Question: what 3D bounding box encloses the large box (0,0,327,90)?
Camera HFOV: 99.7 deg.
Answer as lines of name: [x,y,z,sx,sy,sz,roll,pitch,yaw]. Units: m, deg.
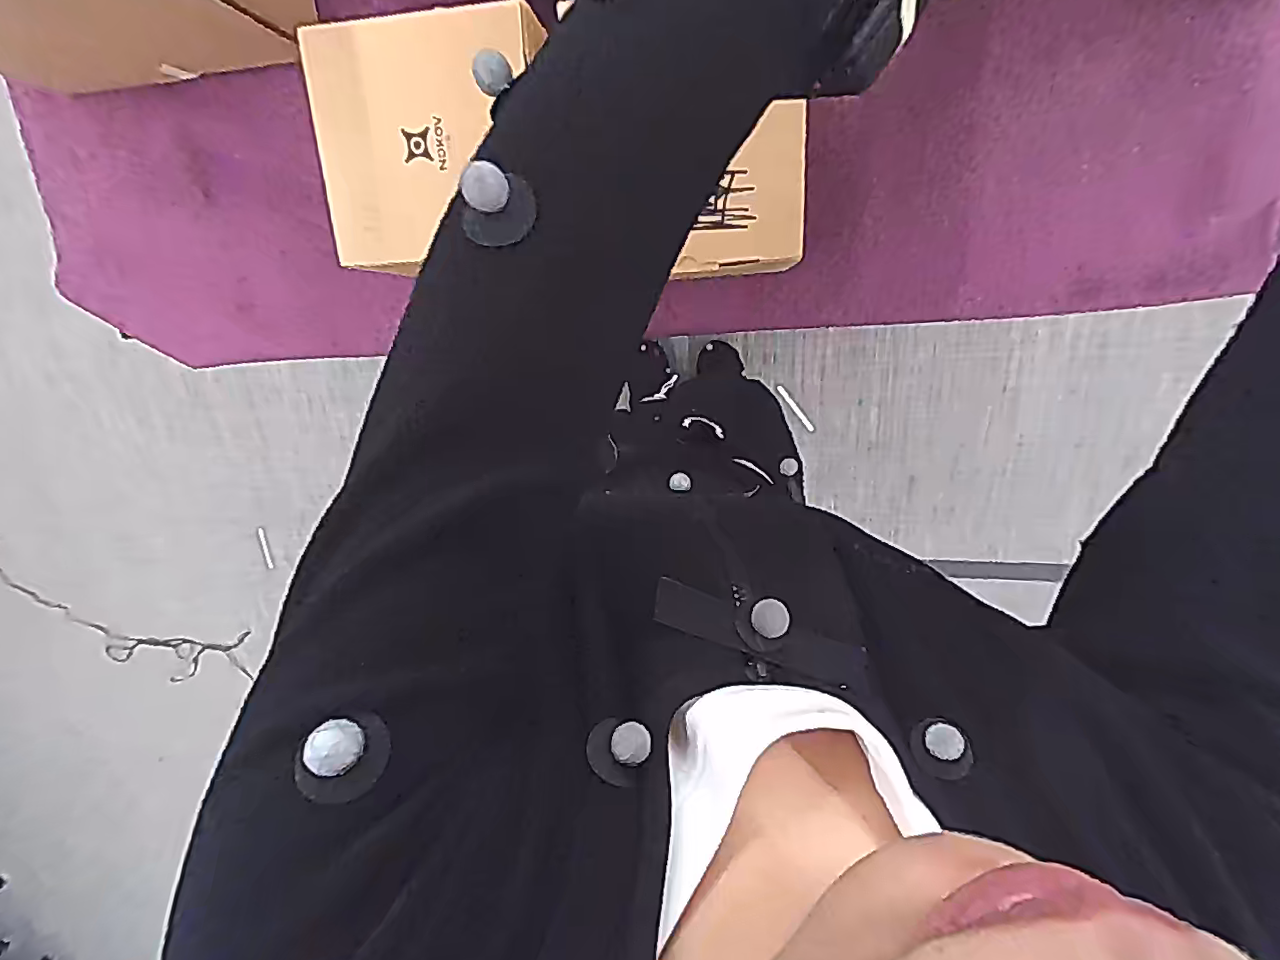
large box: [-0.496,-0.562,0.363,0.320,0.320,0.408,-2,111,9]
